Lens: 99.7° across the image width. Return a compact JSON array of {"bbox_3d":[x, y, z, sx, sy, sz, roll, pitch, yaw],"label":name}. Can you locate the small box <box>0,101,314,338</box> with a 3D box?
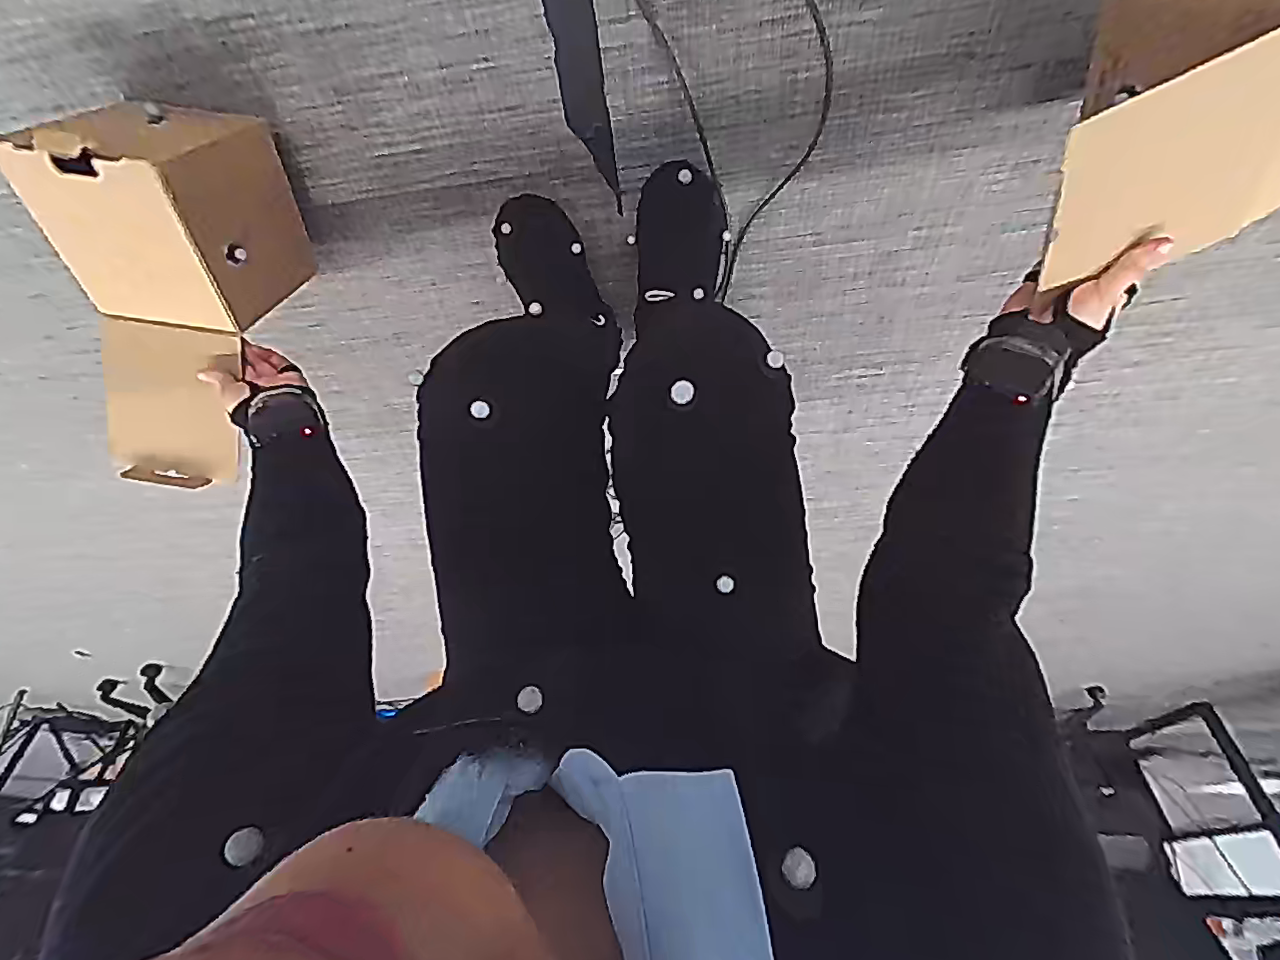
[{"bbox_3d":[-0.504,-0.286,0.597,0.168,0.176,0.179,8,138,3],"label":"small box"}]
